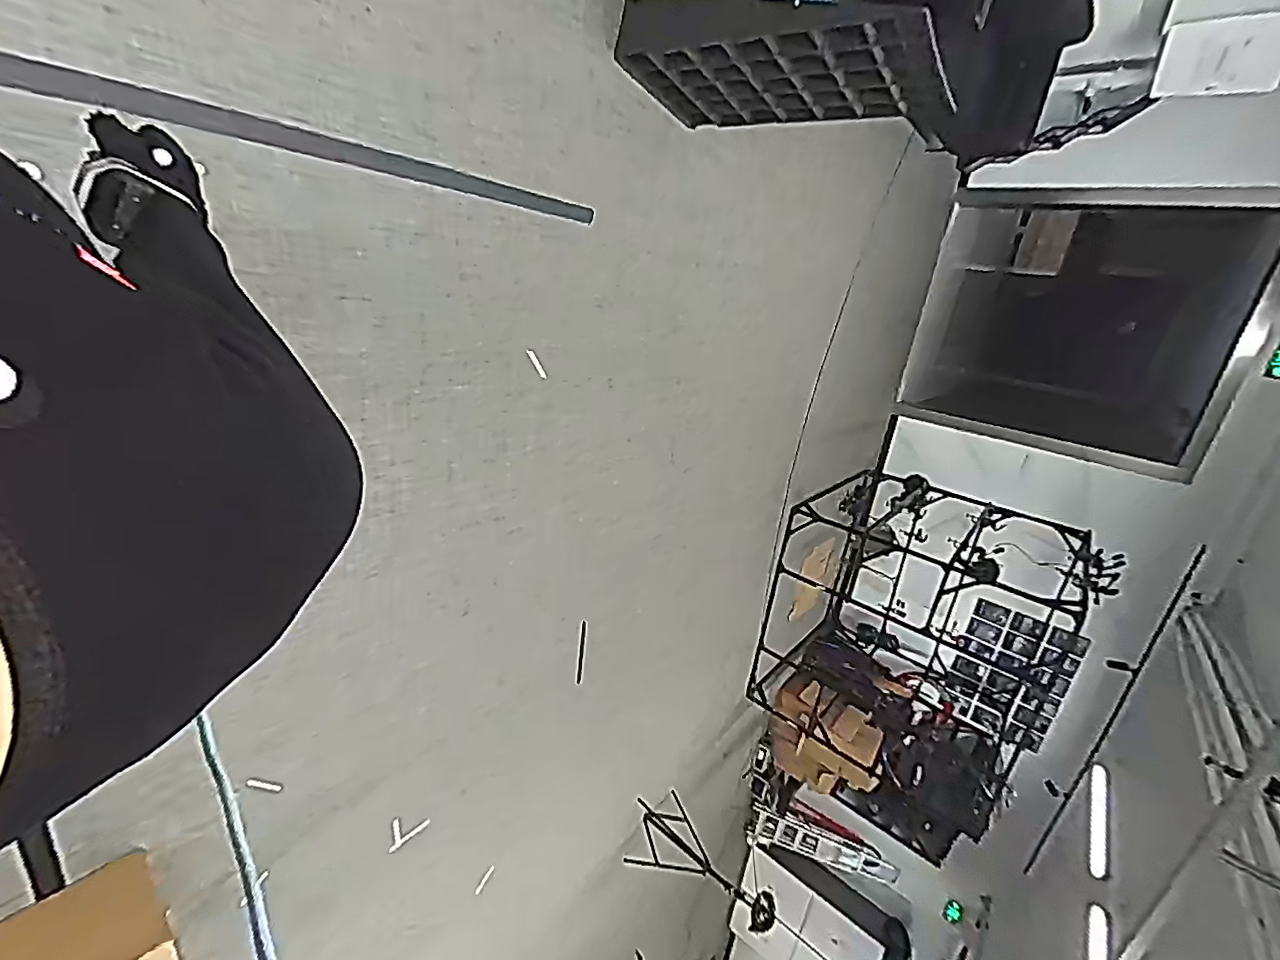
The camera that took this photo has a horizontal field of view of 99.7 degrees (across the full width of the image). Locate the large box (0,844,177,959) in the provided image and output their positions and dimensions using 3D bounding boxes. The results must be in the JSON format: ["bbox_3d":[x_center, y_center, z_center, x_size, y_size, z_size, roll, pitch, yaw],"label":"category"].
[{"bbox_3d":[-1.364,1.180,1.252,0.408,0.320,0.320,-17,122,-48],"label":"large box"}]
